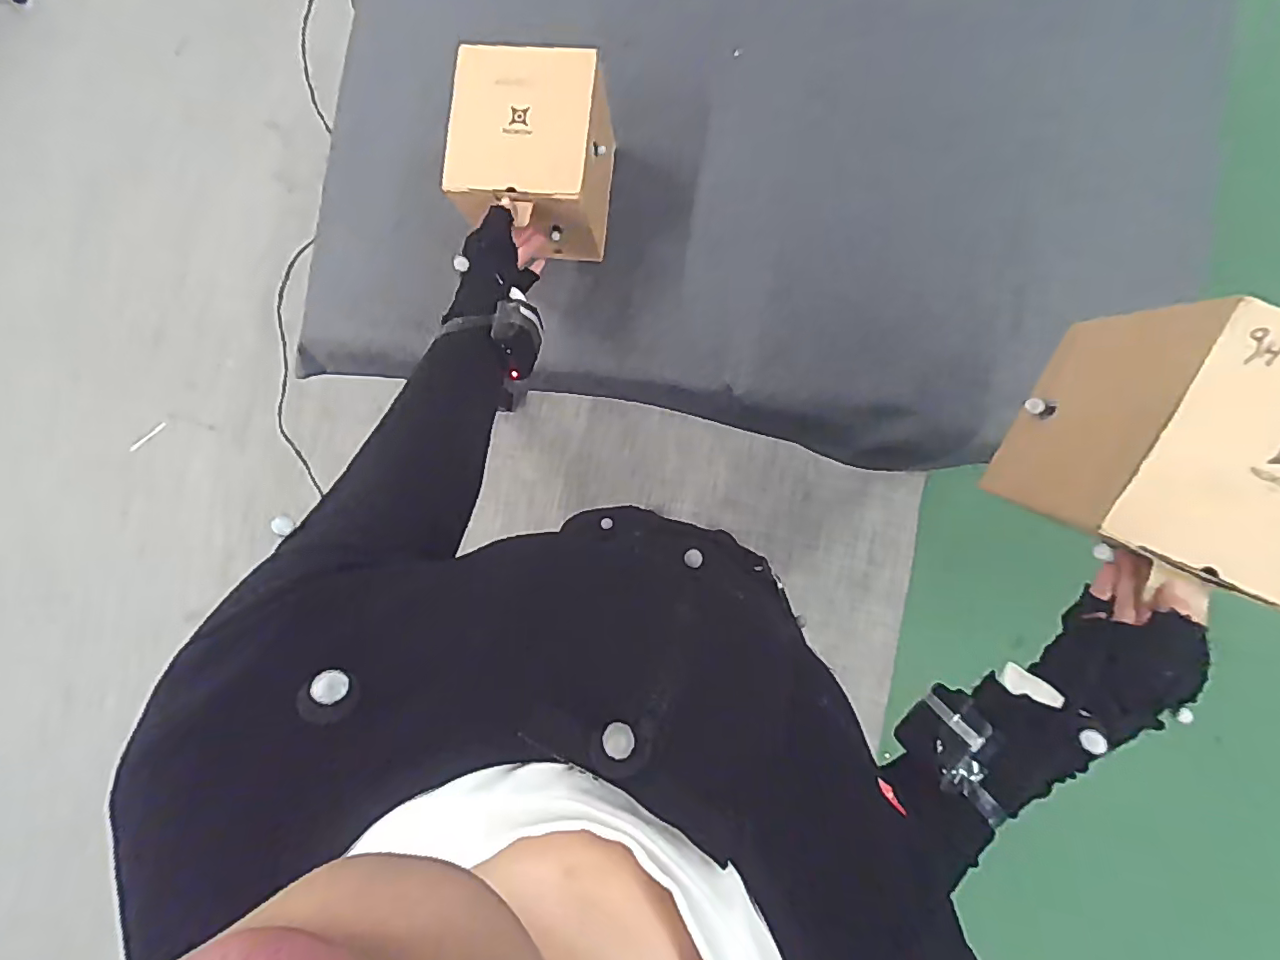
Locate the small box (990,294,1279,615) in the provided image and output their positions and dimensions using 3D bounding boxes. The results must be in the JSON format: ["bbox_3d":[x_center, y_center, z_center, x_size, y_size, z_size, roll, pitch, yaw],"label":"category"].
[{"bbox_3d":[0.433,-0.026,0.444,0.168,0.176,0.179,24,102,0],"label":"small box"}]

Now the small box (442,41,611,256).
[{"bbox_3d":[-0.133,-0.410,0.694,0.168,0.176,0.179,5,87,4],"label":"small box"}]
